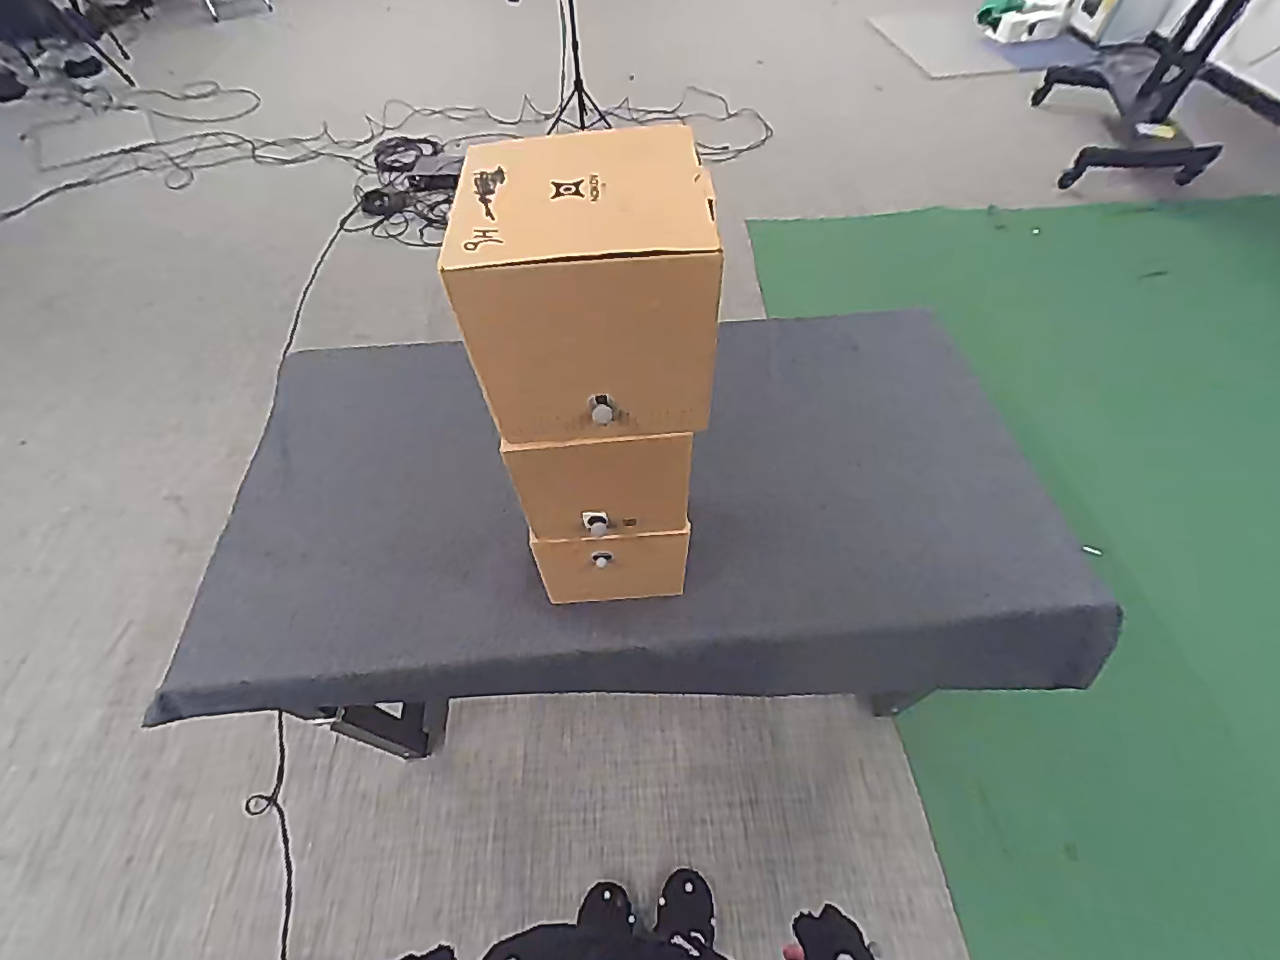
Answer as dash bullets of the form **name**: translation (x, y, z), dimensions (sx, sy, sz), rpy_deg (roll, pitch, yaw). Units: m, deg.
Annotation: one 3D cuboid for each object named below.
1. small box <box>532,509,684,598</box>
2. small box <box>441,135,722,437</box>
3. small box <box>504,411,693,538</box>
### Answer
- **small box**: translation (-0.038, 0.049, 0.718), dimensions (0.179, 0.176, 0.168), rpy_deg (-3, 56, -2)
- **small box**: translation (-0.038, -0.151, 0.441), dimensions (0.179, 0.176, 0.168), rpy_deg (-4, 55, -1)
- **small box**: translation (-0.041, -0.059, 0.576), dimensions (0.168, 0.176, 0.179), rpy_deg (-6, 56, -1)
